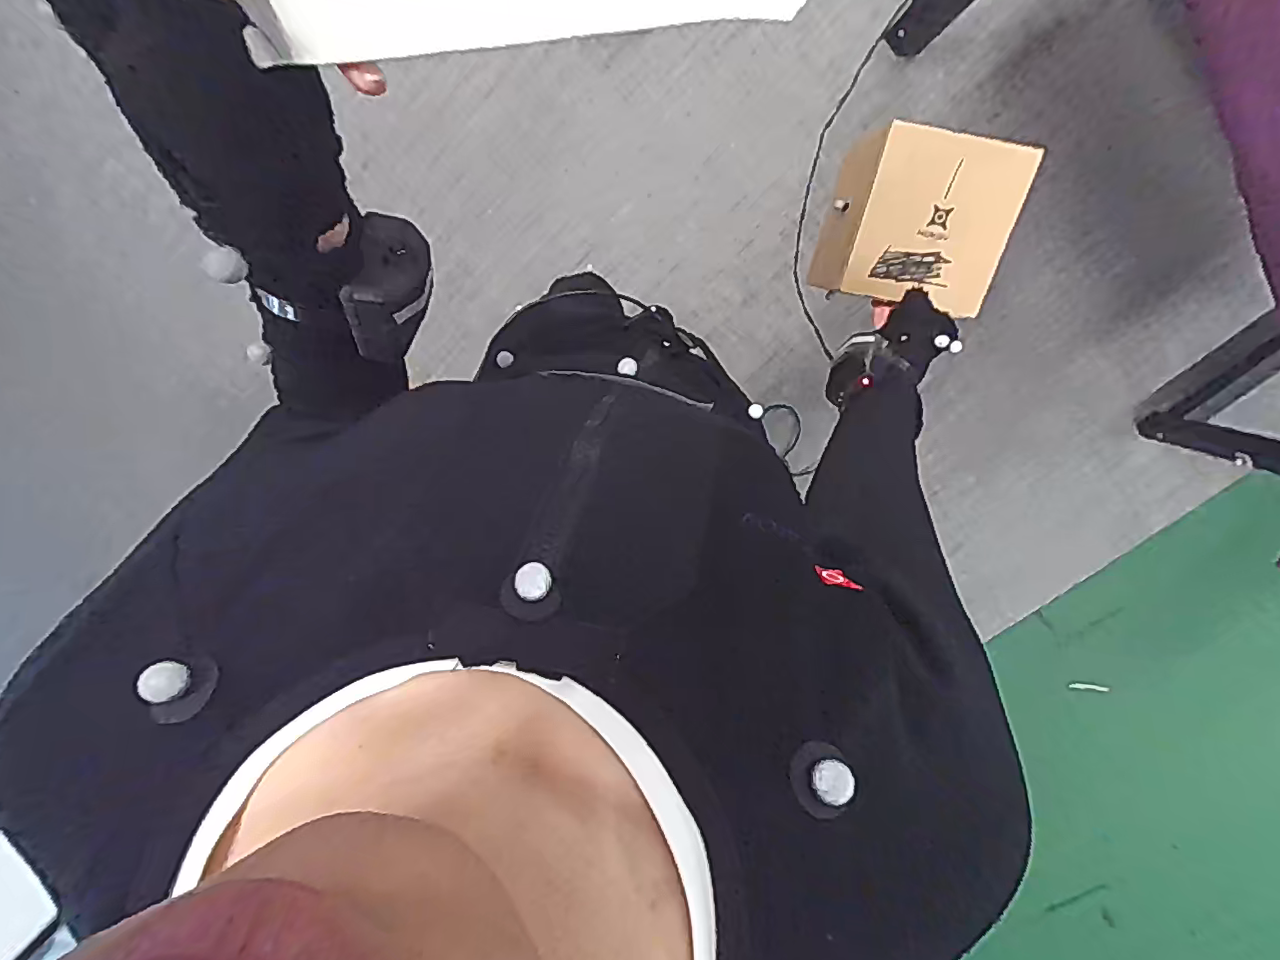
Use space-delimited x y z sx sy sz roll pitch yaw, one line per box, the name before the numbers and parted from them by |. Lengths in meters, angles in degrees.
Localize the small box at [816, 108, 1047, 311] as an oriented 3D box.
small box | 0.332 -0.319 0.662 0.168 0.176 0.179 11 113 -2
